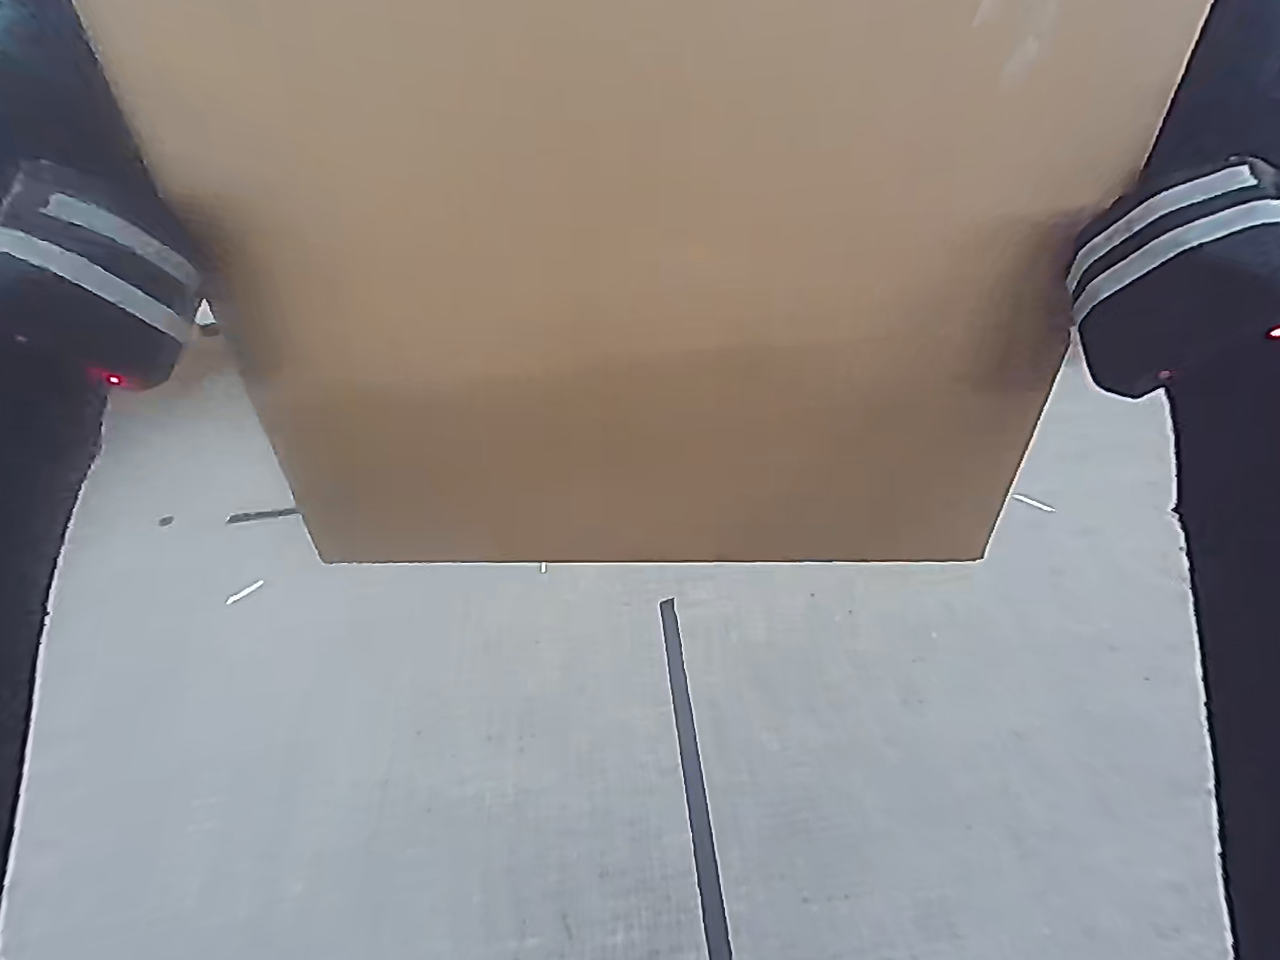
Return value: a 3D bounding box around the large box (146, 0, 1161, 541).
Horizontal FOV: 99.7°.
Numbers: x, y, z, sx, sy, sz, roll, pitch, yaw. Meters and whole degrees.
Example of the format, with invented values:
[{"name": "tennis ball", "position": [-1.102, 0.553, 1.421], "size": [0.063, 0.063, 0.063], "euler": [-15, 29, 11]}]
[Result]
[{"name": "large box", "position": [0.005, -0.166, 0.391], "size": [0.408, 0.320, 0.320], "euler": [0, 33, 1]}]
